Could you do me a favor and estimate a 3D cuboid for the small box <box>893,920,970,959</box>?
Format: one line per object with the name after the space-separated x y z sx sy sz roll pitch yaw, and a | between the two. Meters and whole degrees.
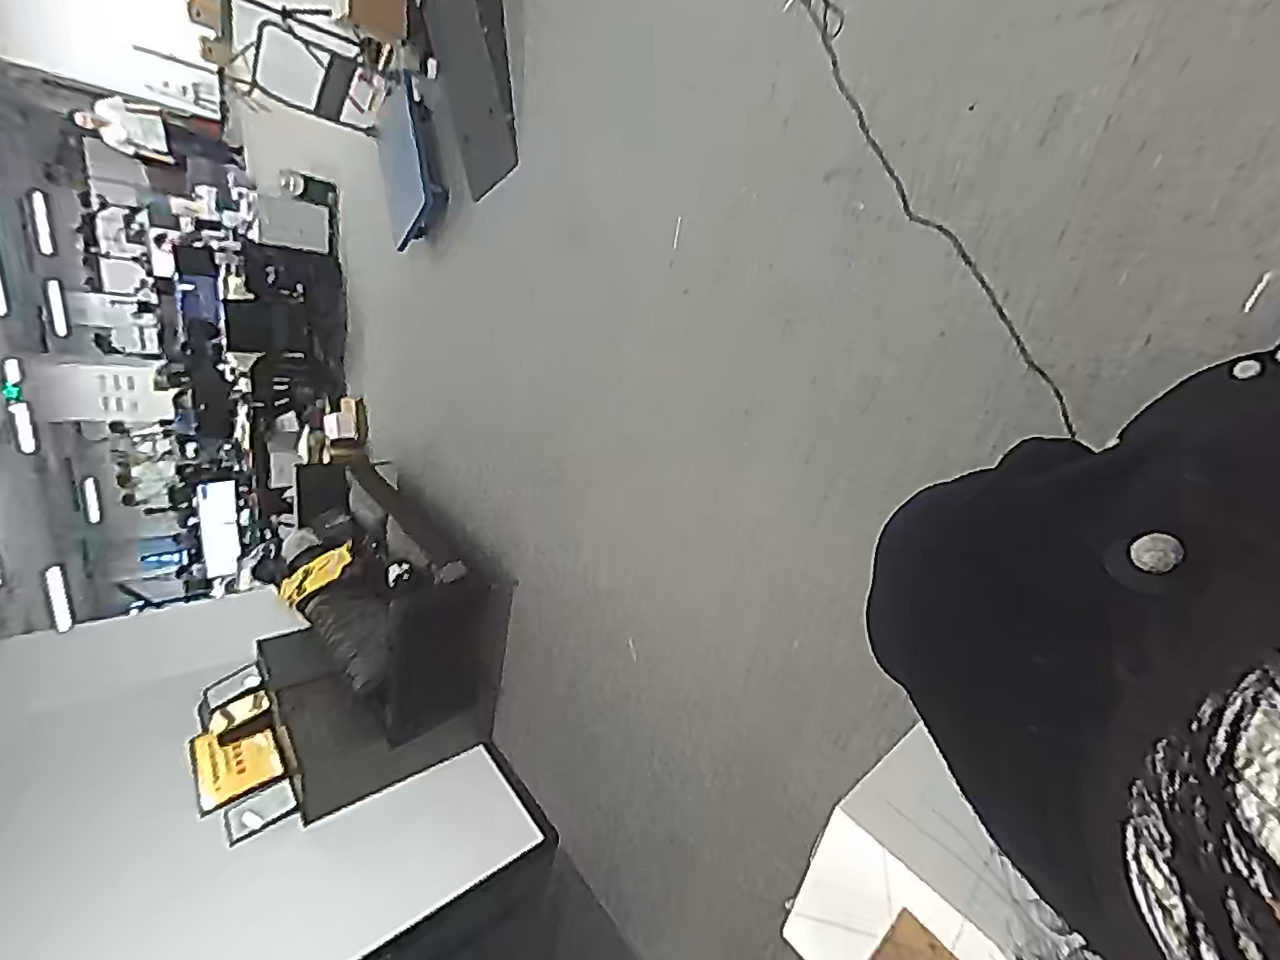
0.477 0.892 0.884 0.168 0.176 0.179 32 119 41 | small box
